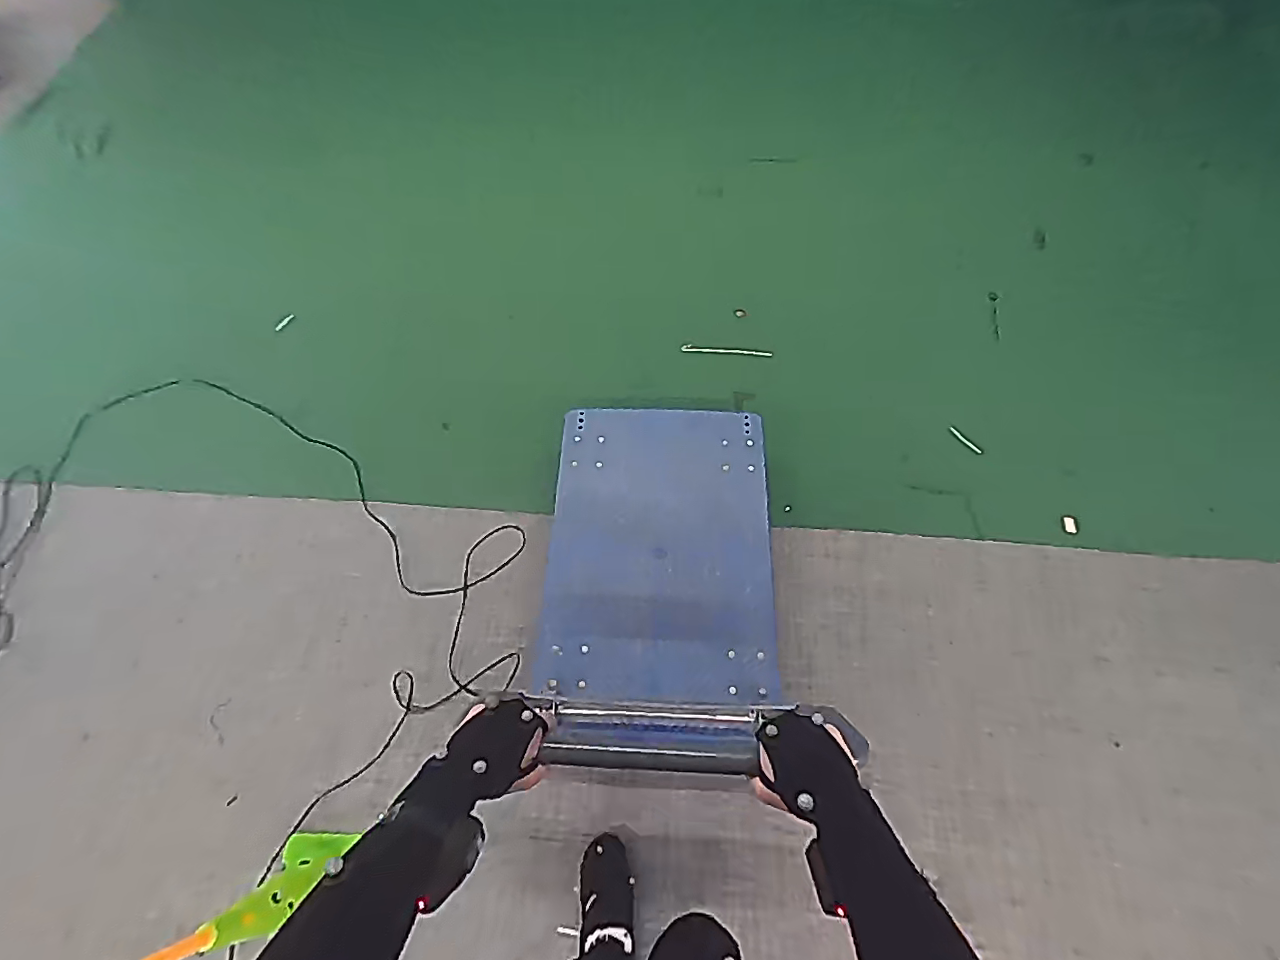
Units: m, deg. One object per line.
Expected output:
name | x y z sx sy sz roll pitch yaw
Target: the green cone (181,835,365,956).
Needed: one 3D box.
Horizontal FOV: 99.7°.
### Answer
green cone | -0.750 0.857 1.082 0.202 0.368 0.200 -1 64 3
